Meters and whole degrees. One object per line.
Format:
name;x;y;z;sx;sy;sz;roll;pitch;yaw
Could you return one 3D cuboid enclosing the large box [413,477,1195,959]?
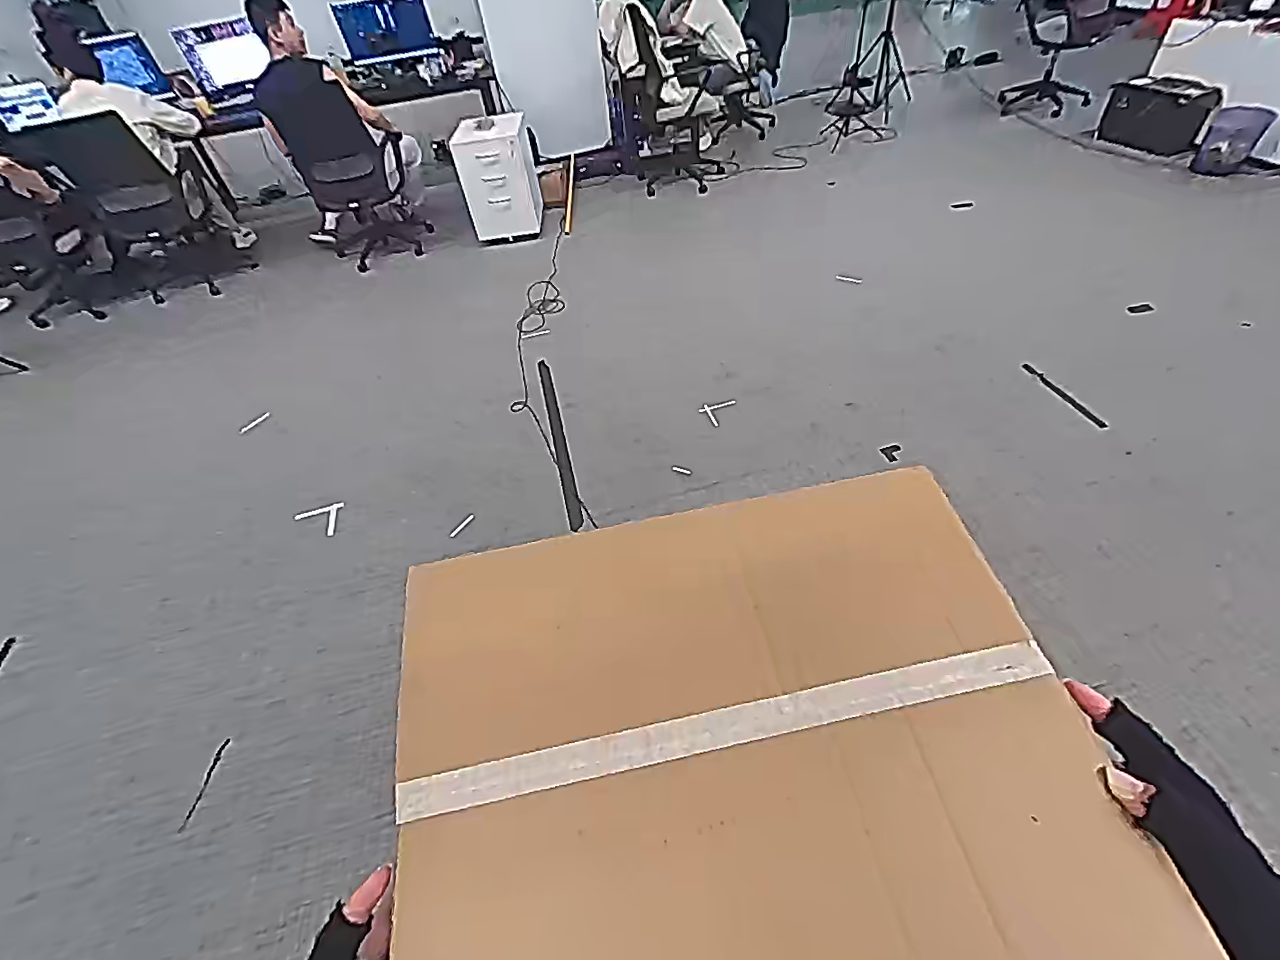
large box;0.066;0.244;0.464;0.408;0.320;0.320;-11;56;-3
